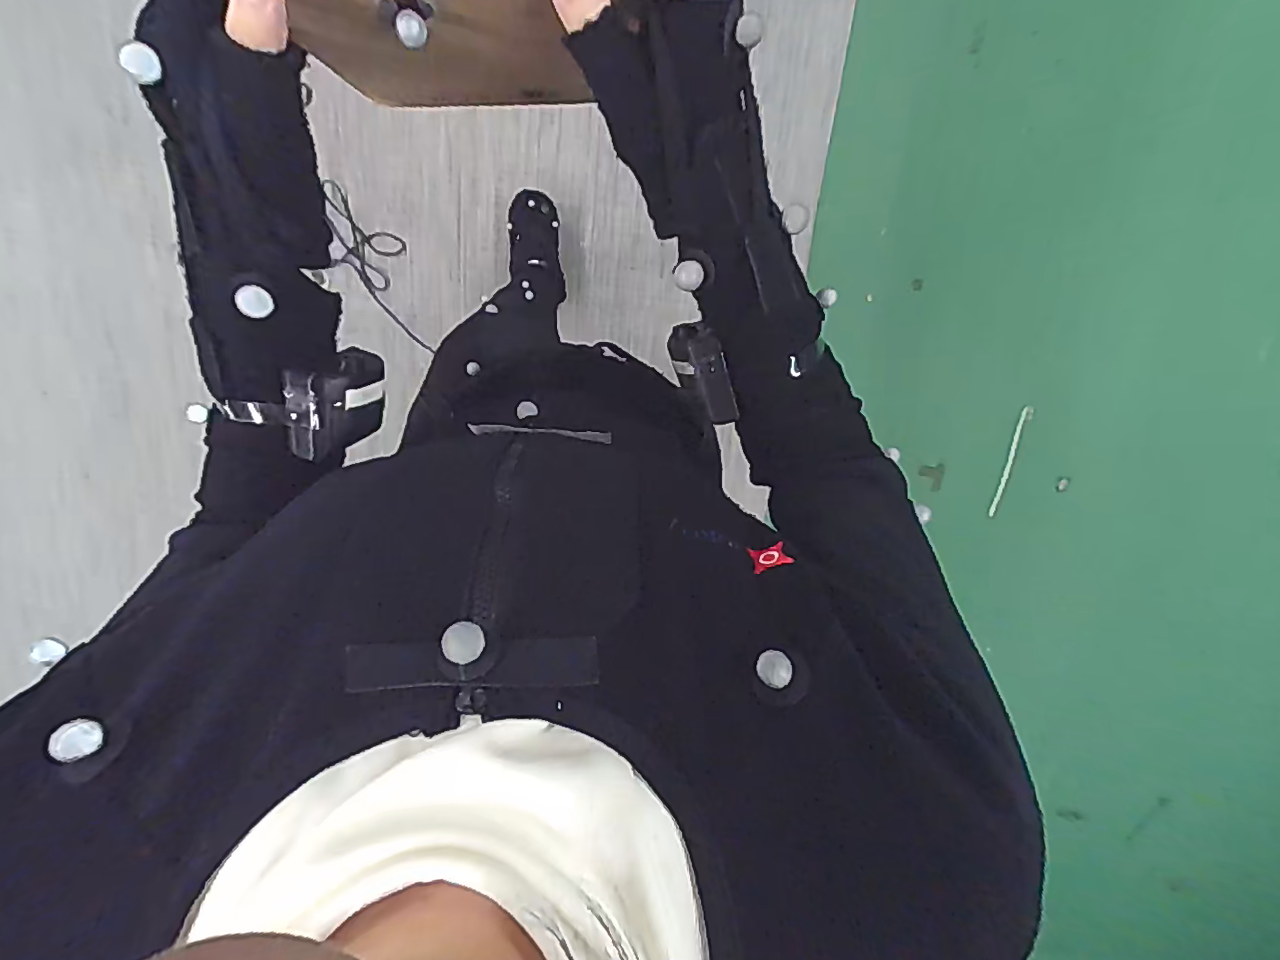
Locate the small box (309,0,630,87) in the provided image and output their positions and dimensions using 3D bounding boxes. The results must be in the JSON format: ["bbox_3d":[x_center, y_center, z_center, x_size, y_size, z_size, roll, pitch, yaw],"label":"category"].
[{"bbox_3d":[-0.090,-0.314,0.248,0.168,0.176,0.179,-4,110,-4],"label":"small box"}]
